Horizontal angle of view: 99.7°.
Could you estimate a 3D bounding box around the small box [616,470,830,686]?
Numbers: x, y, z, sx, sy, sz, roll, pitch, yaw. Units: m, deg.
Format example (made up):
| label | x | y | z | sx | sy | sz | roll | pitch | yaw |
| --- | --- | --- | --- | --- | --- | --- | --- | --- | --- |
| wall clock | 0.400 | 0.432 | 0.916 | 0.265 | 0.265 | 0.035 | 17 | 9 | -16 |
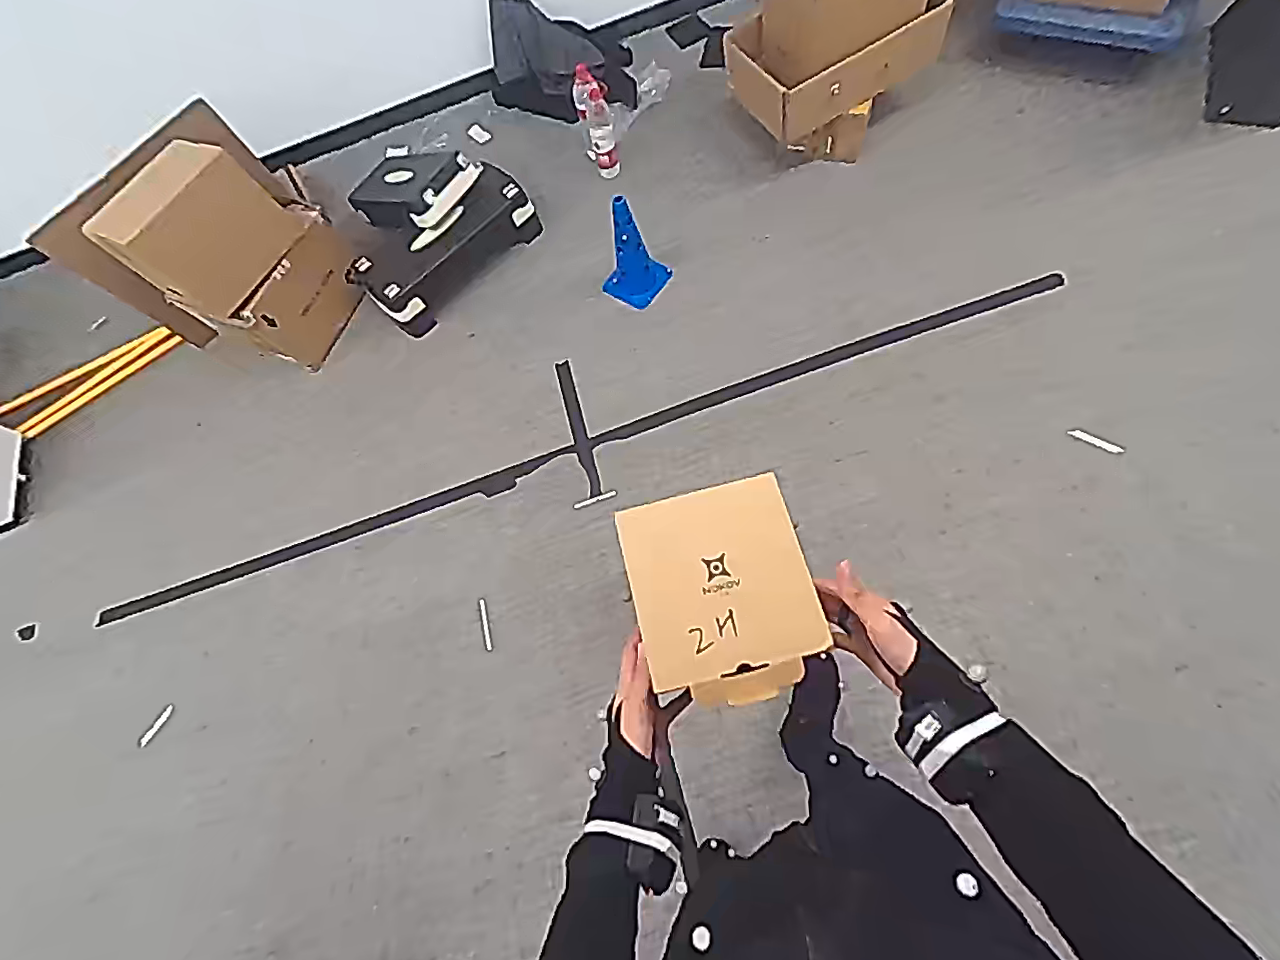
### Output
| label | x | y | z | sx | sy | sz | roll | pitch | yaw |
| --- | --- | --- | --- | --- | --- | --- | --- | --- | --- |
| small box | 0.078 | 0.113 | 0.579 | 0.168 | 0.176 | 0.179 | -14 | 70 | 1 |
